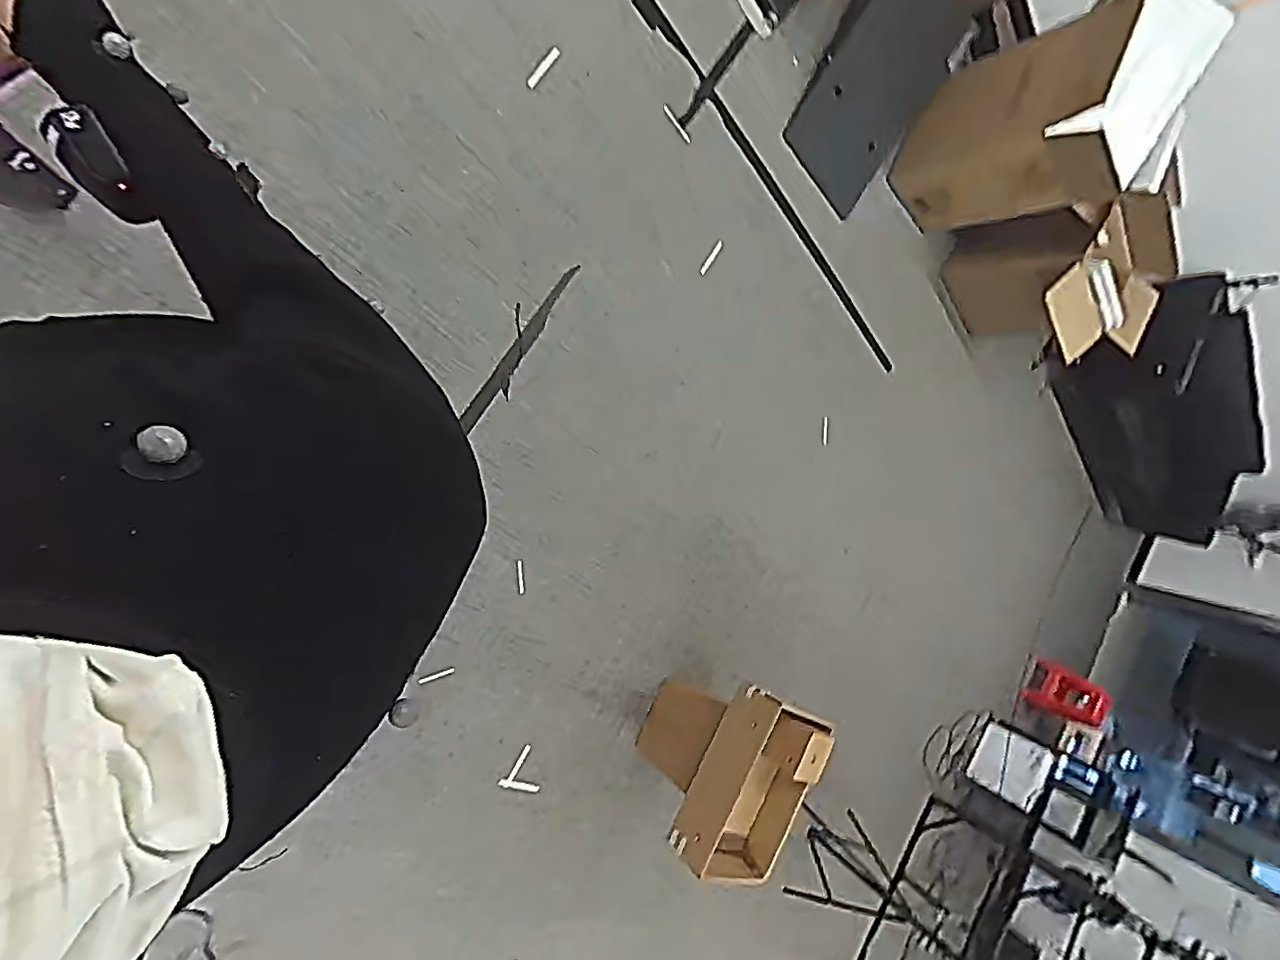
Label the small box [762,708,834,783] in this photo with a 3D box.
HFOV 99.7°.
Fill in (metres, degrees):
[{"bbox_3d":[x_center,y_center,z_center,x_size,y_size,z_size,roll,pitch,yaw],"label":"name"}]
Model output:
[{"bbox_3d":[0.579,0.982,2.004,0.168,0.176,0.179,32,81,-35],"label":"small box"}]
